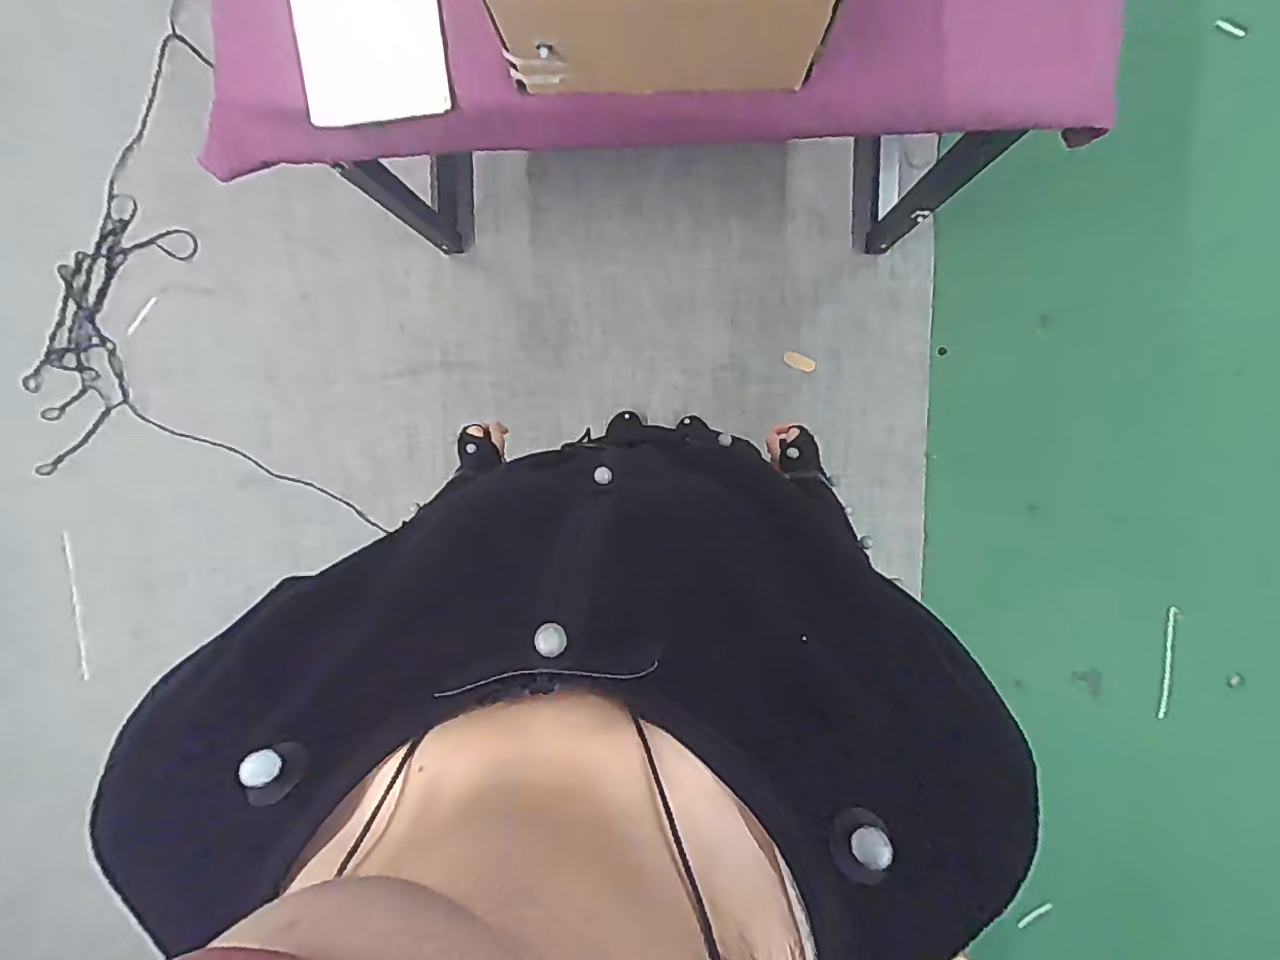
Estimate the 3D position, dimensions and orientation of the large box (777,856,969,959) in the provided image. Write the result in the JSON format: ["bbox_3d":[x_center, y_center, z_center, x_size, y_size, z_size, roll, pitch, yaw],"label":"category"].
[{"bbox_3d":[0.625,1.295,1.444,0.408,0.320,0.320,-15,95,4],"label":"large box"}]
